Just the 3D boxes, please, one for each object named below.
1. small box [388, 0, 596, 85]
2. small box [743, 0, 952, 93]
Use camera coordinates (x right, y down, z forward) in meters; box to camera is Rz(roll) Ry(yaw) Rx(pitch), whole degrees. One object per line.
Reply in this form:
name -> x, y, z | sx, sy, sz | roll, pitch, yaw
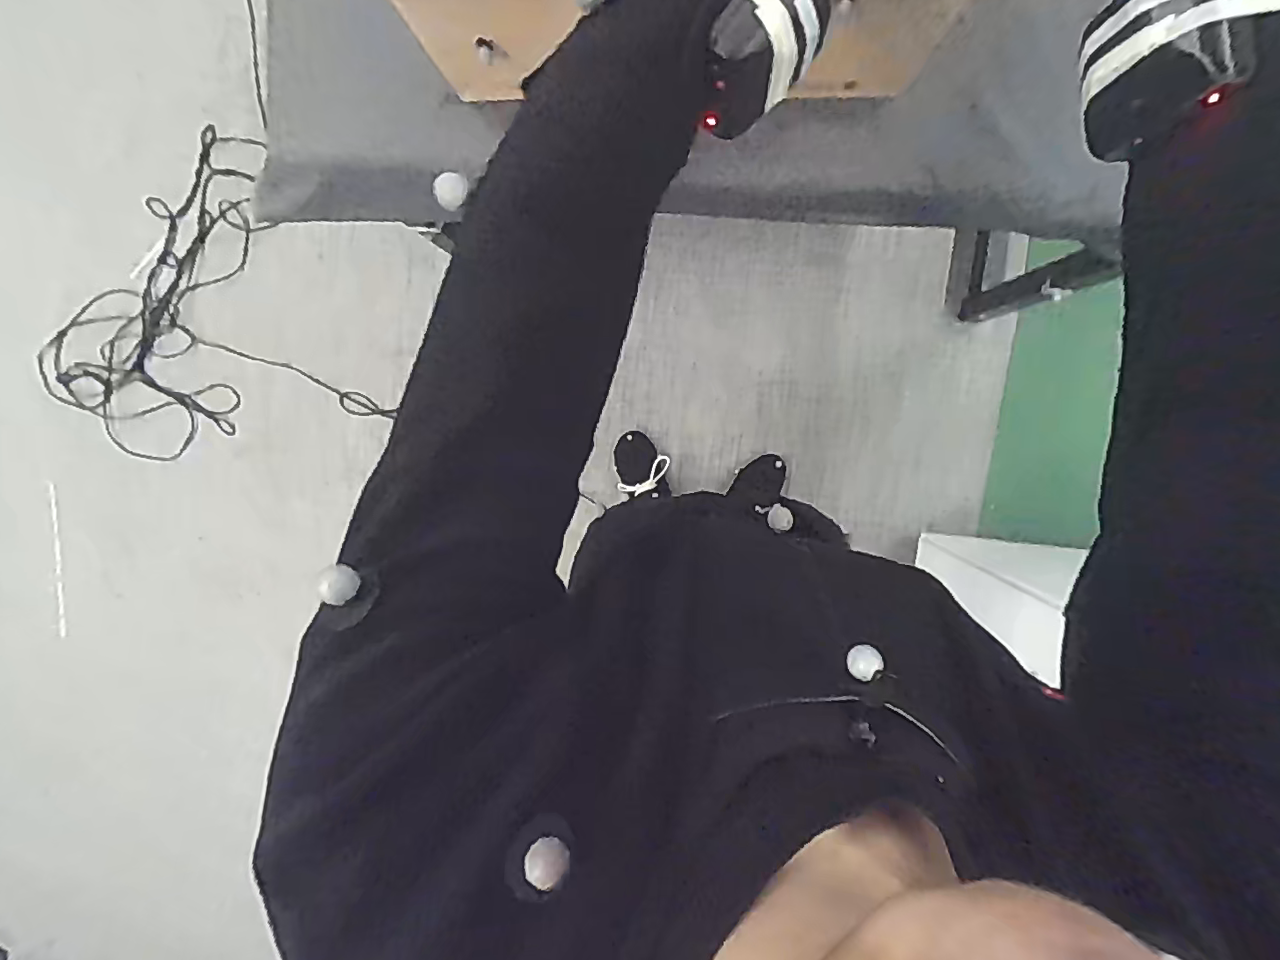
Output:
small box -> -0.134, -0.510, 0.514 | 0.168, 0.176, 0.179 | 0, 97, 4
small box -> 0.188, -0.497, 0.493 | 0.168, 0.176, 0.179 | 2, 96, 4
